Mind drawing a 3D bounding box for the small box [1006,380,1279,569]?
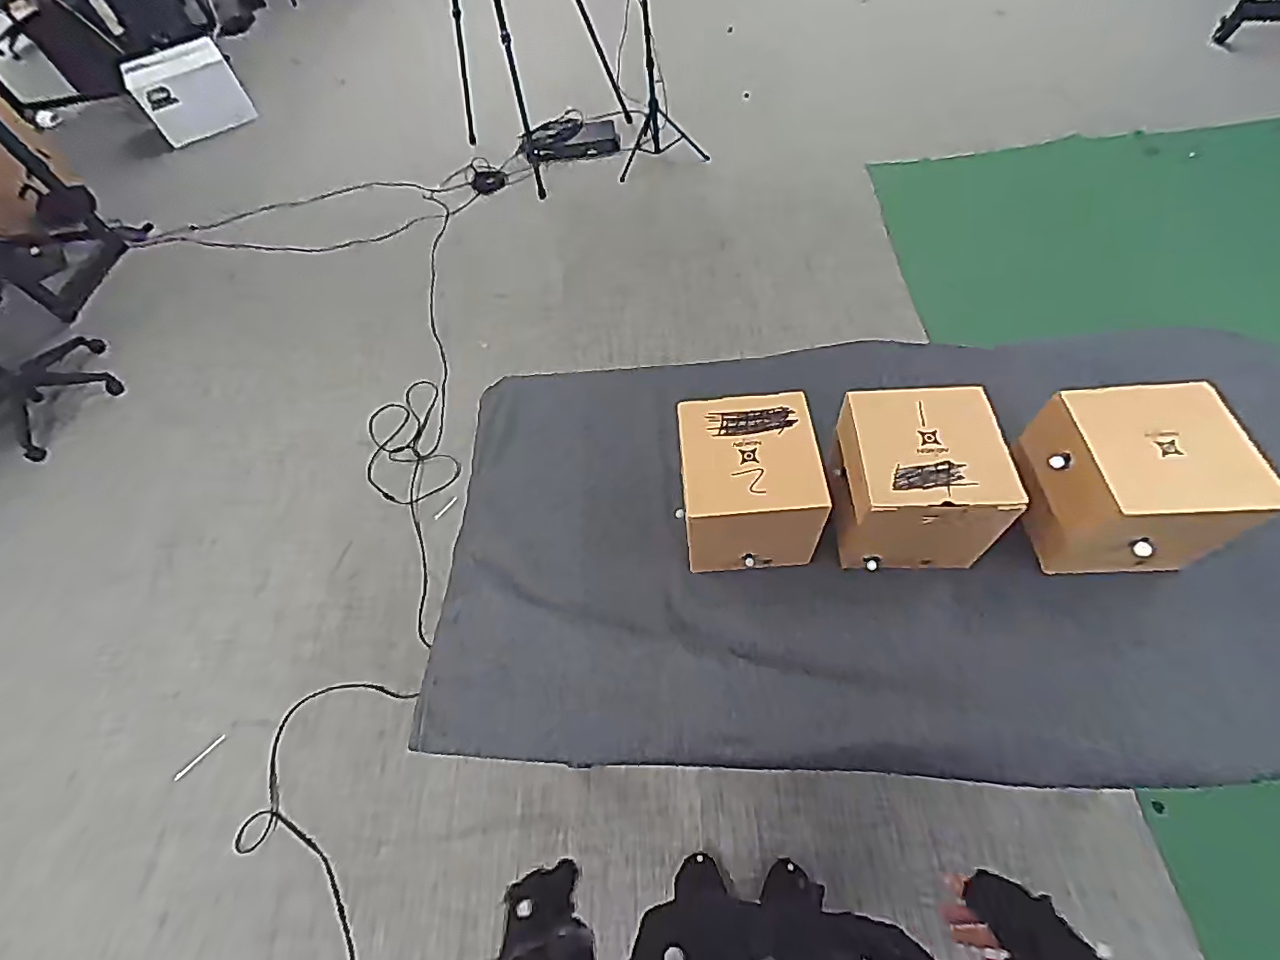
[{"bbox_3d":[0.595,0.003,0.665,0.168,0.176,0.179,-3,57,6],"label":"small box"}]
